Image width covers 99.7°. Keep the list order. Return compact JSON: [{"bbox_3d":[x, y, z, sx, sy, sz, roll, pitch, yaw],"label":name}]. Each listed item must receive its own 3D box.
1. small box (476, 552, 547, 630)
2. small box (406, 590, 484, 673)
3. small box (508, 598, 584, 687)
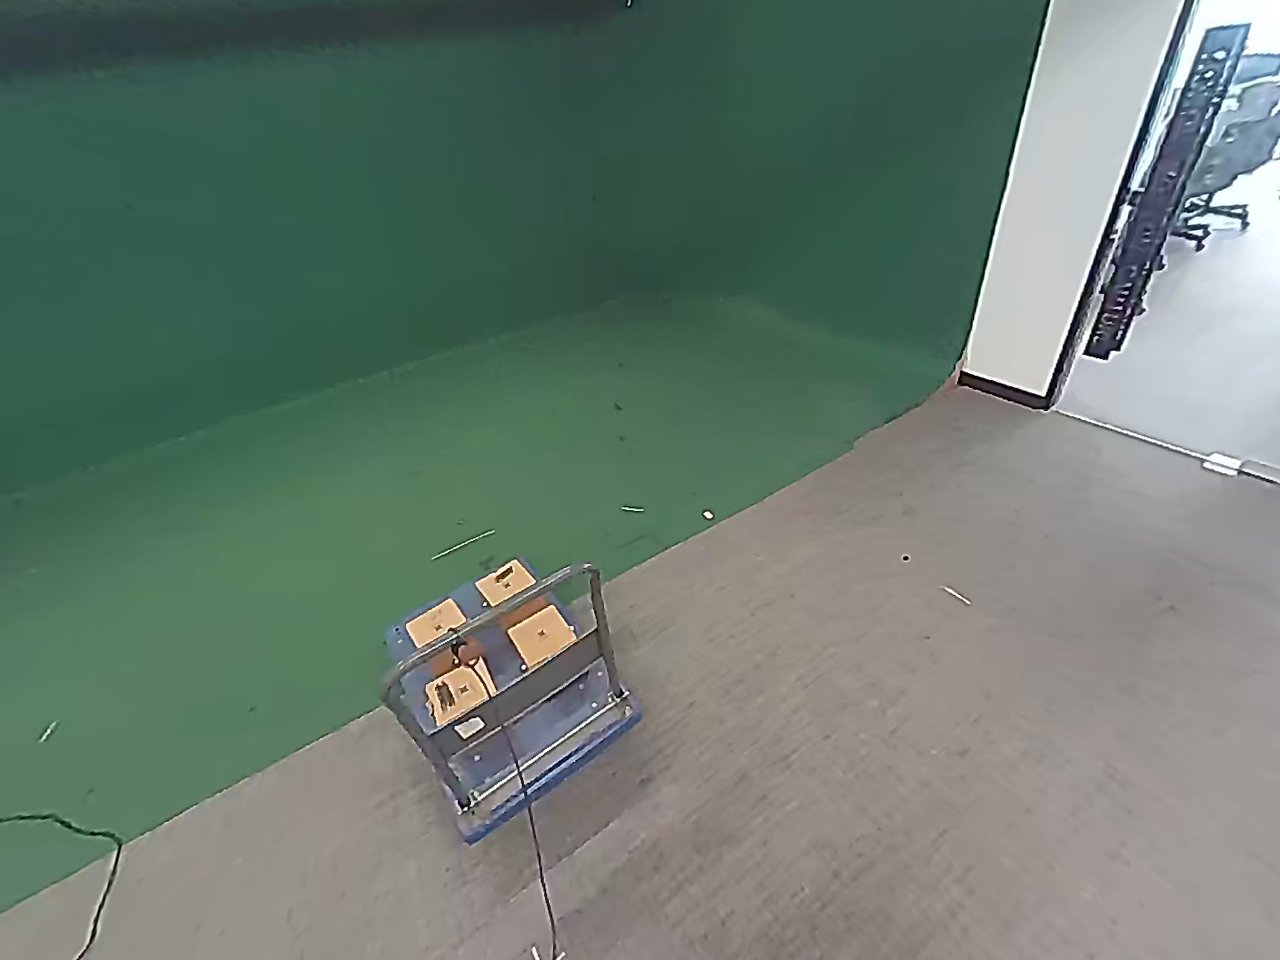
[{"bbox_3d":[-0.448,0.395,1.904,0.168,0.176,0.179,-31,44,-25],"label":"small box"},{"bbox_3d":[-0.643,0.509,1.794,0.168,0.176,0.179,-29,42,-26],"label":"small box"},{"bbox_3d":[-0.296,0.518,1.718,0.168,0.176,0.179,-26,42,-22],"label":"small box"}]
